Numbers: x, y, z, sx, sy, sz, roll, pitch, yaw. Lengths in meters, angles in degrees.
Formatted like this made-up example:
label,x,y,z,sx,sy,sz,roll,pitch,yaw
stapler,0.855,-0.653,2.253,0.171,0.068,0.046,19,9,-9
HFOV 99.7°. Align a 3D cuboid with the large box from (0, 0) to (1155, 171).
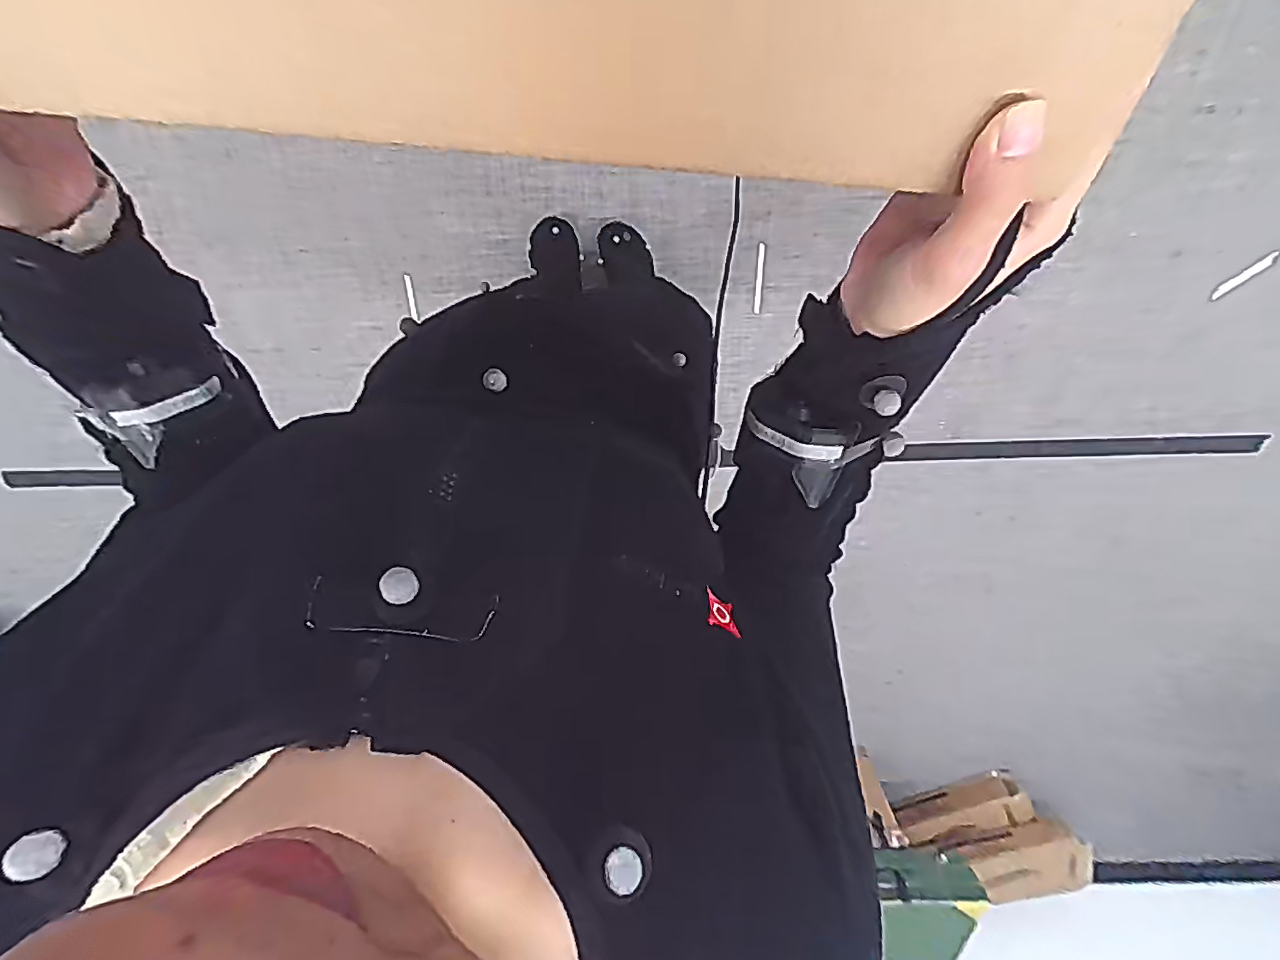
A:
label,x,y,z,sx,sy,sz,roll,pitch,yaw
large box,-0.039,-0.331,0.166,0.408,0.320,0.320,3,142,-2
